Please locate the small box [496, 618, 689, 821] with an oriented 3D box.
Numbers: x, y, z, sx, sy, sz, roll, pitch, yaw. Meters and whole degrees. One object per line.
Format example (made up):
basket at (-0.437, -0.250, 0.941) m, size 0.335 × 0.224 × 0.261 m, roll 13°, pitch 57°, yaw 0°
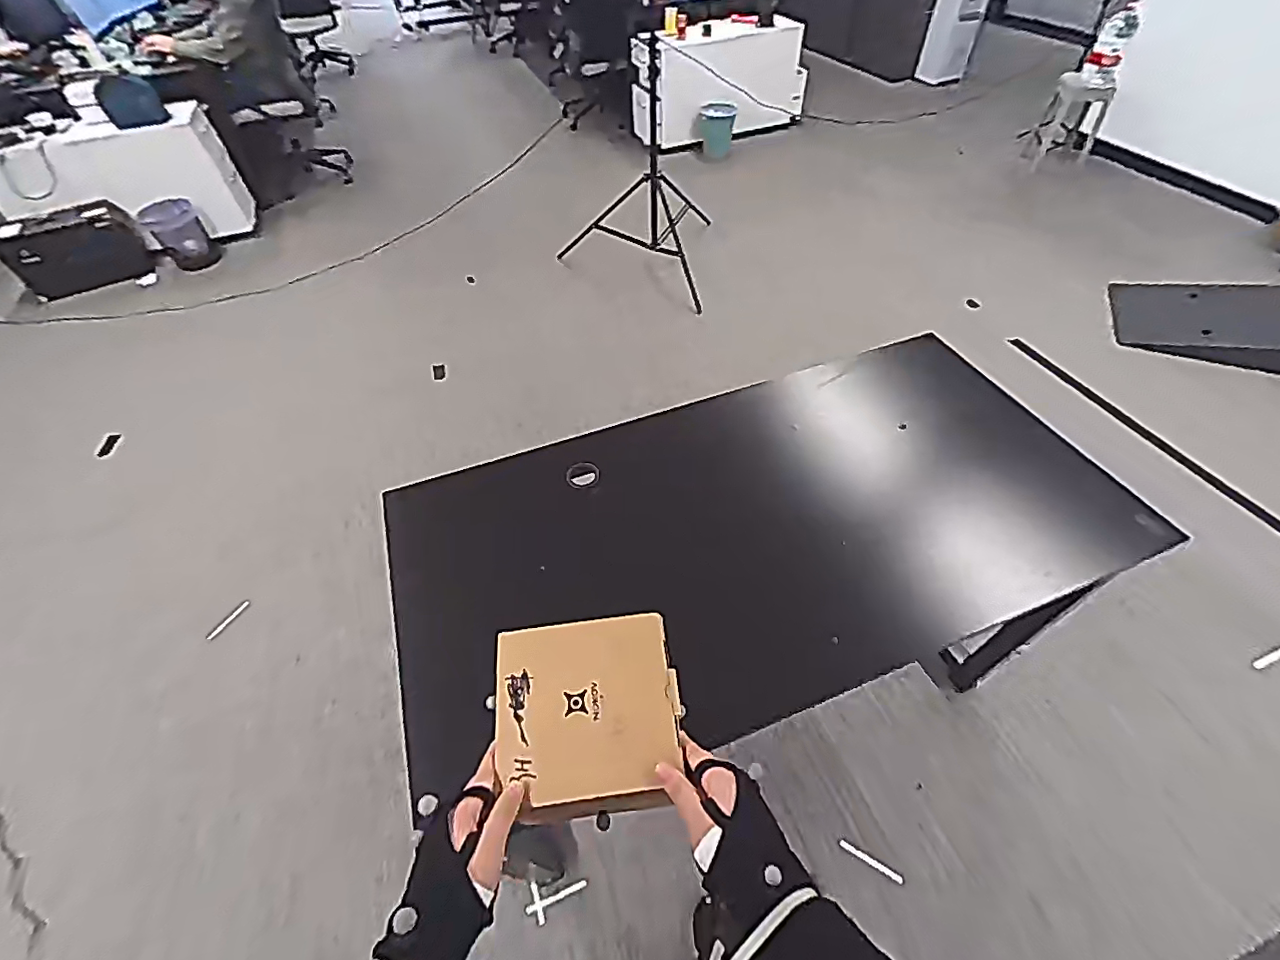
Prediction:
small box at (-0.051, 0.266, 0.593) m, size 0.179 × 0.176 × 0.168 m, roll -5°, pitch 54°, yaw -4°
